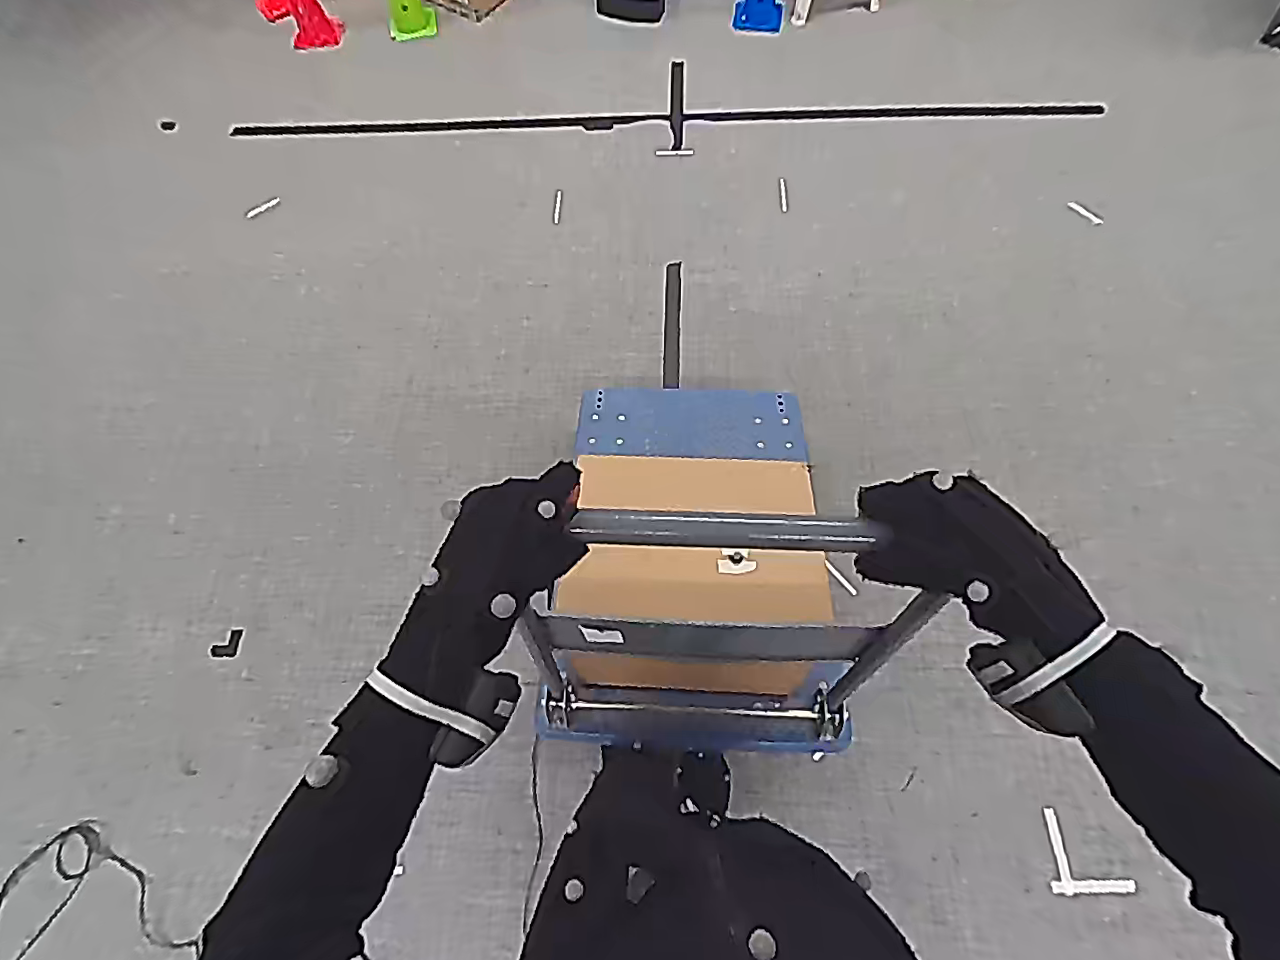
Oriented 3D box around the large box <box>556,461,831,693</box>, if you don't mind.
[{"bbox_3d":[0.079,0.183,0.976,0.408,0.320,0.320,2,54,2],"label":"large box"}]
